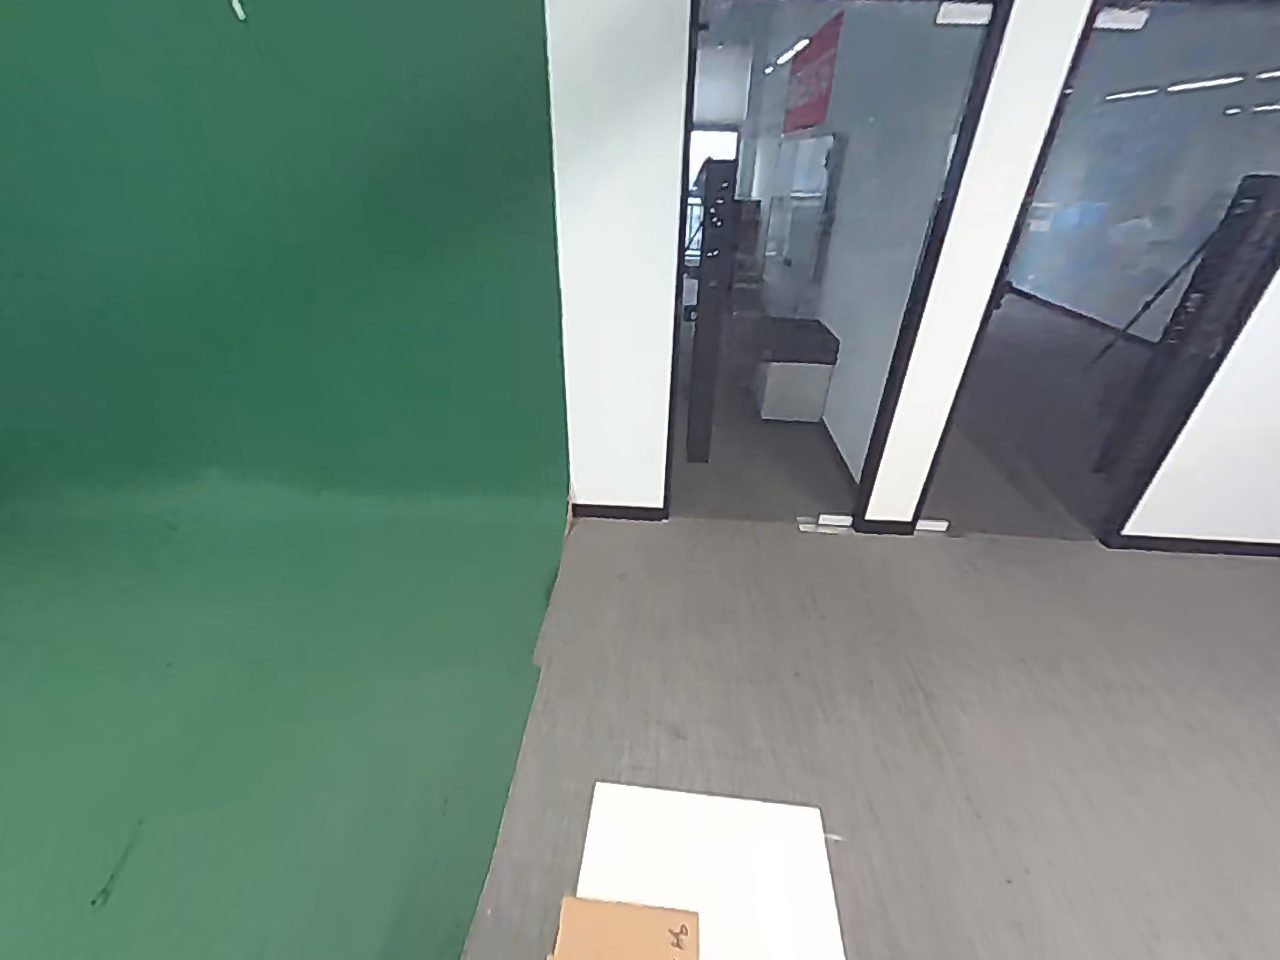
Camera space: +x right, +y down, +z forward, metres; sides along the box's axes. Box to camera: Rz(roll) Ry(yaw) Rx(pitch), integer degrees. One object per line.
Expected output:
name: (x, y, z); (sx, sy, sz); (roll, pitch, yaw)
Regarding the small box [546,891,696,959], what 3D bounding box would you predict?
small box: (-0.028, 0.639, 0.650); (0.179, 0.176, 0.168); (6, 30, 4)
